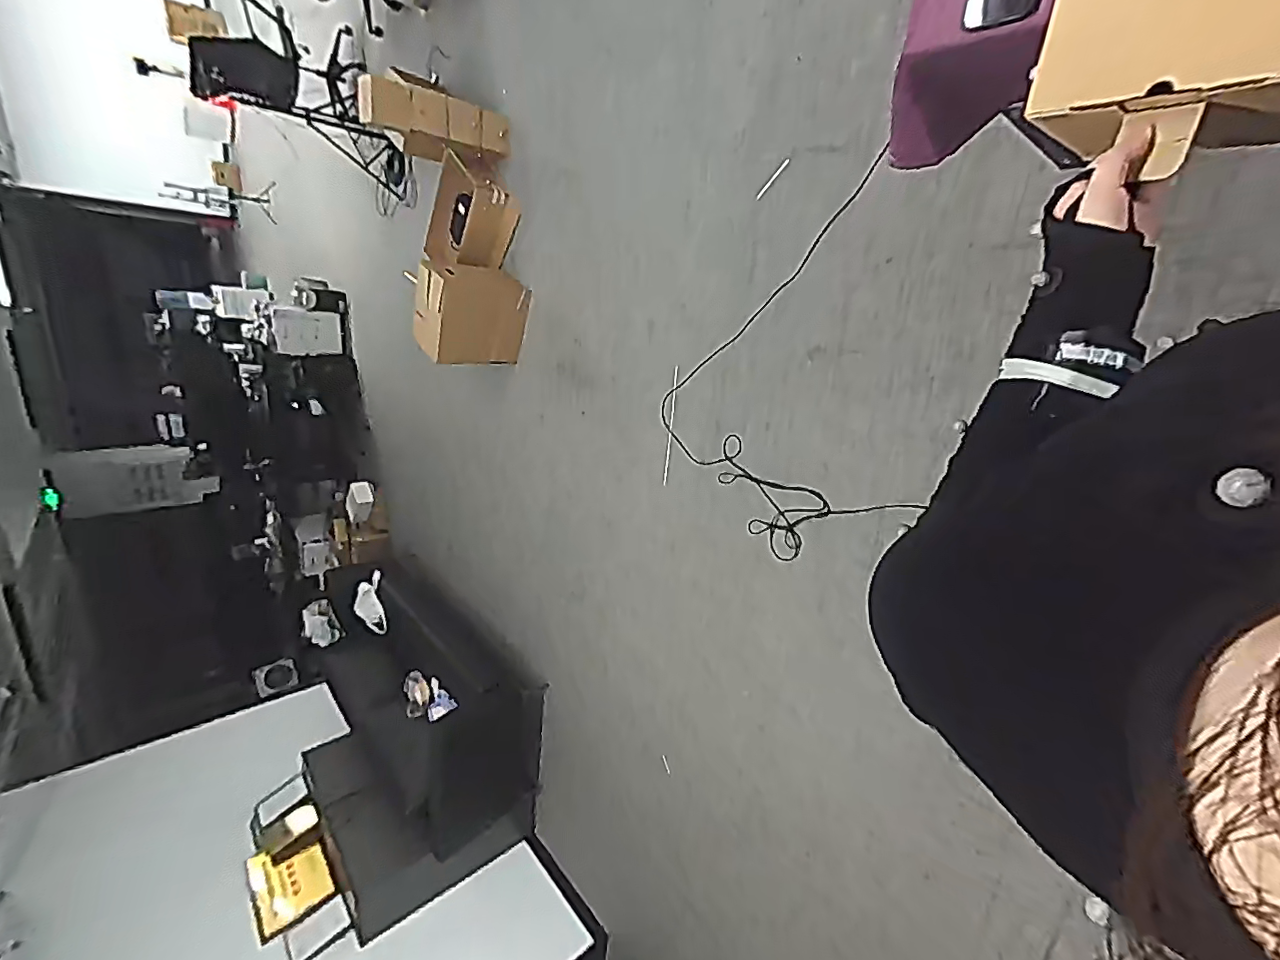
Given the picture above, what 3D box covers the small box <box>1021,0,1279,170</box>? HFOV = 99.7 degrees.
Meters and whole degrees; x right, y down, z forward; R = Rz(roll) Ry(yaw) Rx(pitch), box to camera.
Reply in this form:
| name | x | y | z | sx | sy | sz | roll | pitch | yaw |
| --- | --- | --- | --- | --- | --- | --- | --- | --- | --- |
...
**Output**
| name | x | y | z | sx | sy | sz | roll | pitch | yaw |
| --- | --- | --- | --- | --- | --- | --- | --- | --- | --- |
| small box | 0.432 | -0.354 | 0.407 | 0.168 | 0.176 | 0.179 | 27 | 120 | 46 |
